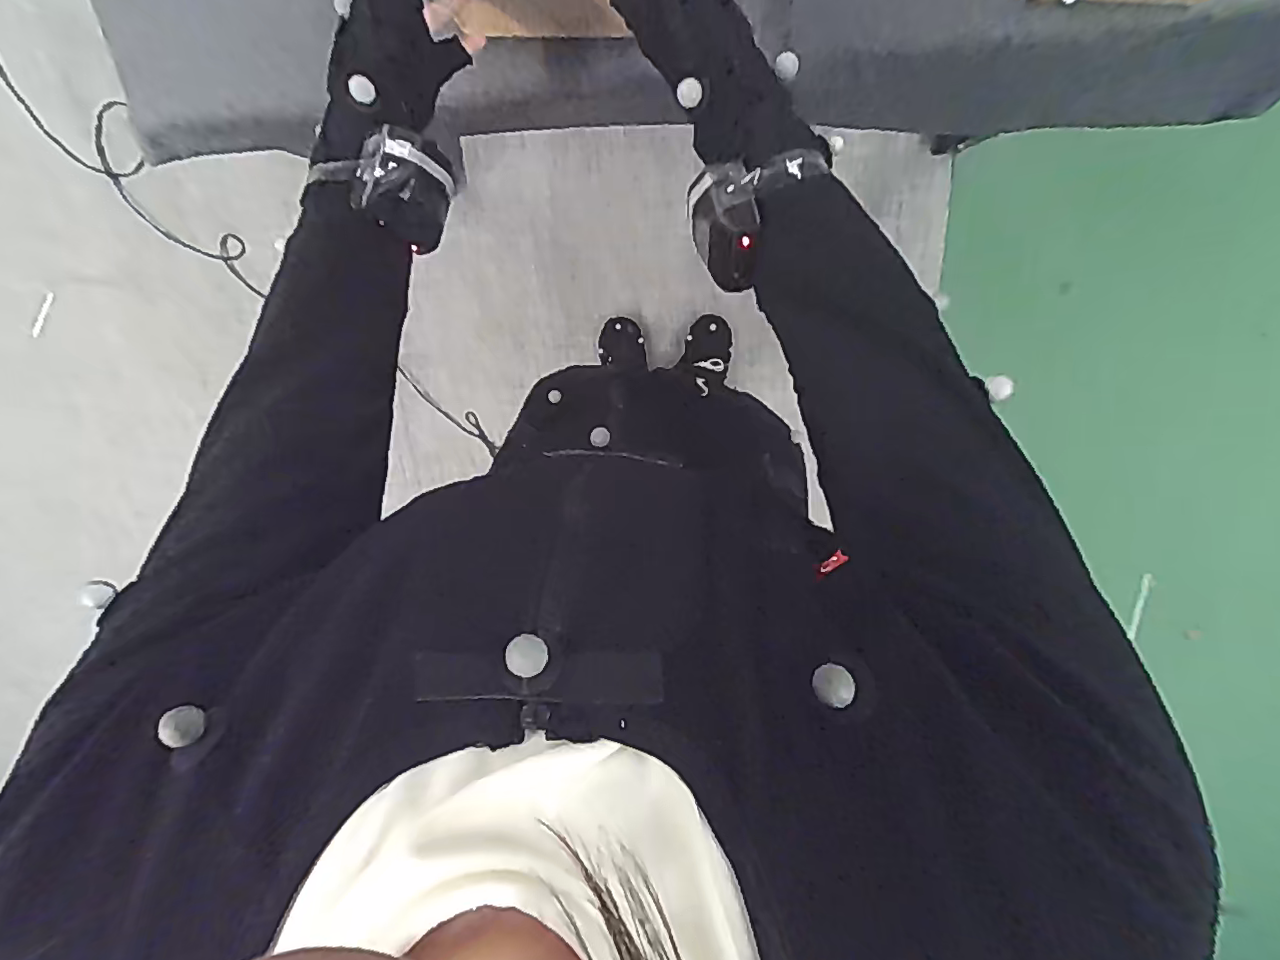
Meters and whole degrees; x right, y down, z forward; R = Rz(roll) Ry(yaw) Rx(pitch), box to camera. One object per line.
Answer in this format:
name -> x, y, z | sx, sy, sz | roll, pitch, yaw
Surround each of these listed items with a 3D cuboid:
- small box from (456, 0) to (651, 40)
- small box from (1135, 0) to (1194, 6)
small box -> -0.081, -0.487, 0.429 | 0.179, 0.176, 0.168 | 3, 104, 4
small box -> 0.437, -0.501, 0.405 | 0.168, 0.176, 0.179 | 5, 109, 2
